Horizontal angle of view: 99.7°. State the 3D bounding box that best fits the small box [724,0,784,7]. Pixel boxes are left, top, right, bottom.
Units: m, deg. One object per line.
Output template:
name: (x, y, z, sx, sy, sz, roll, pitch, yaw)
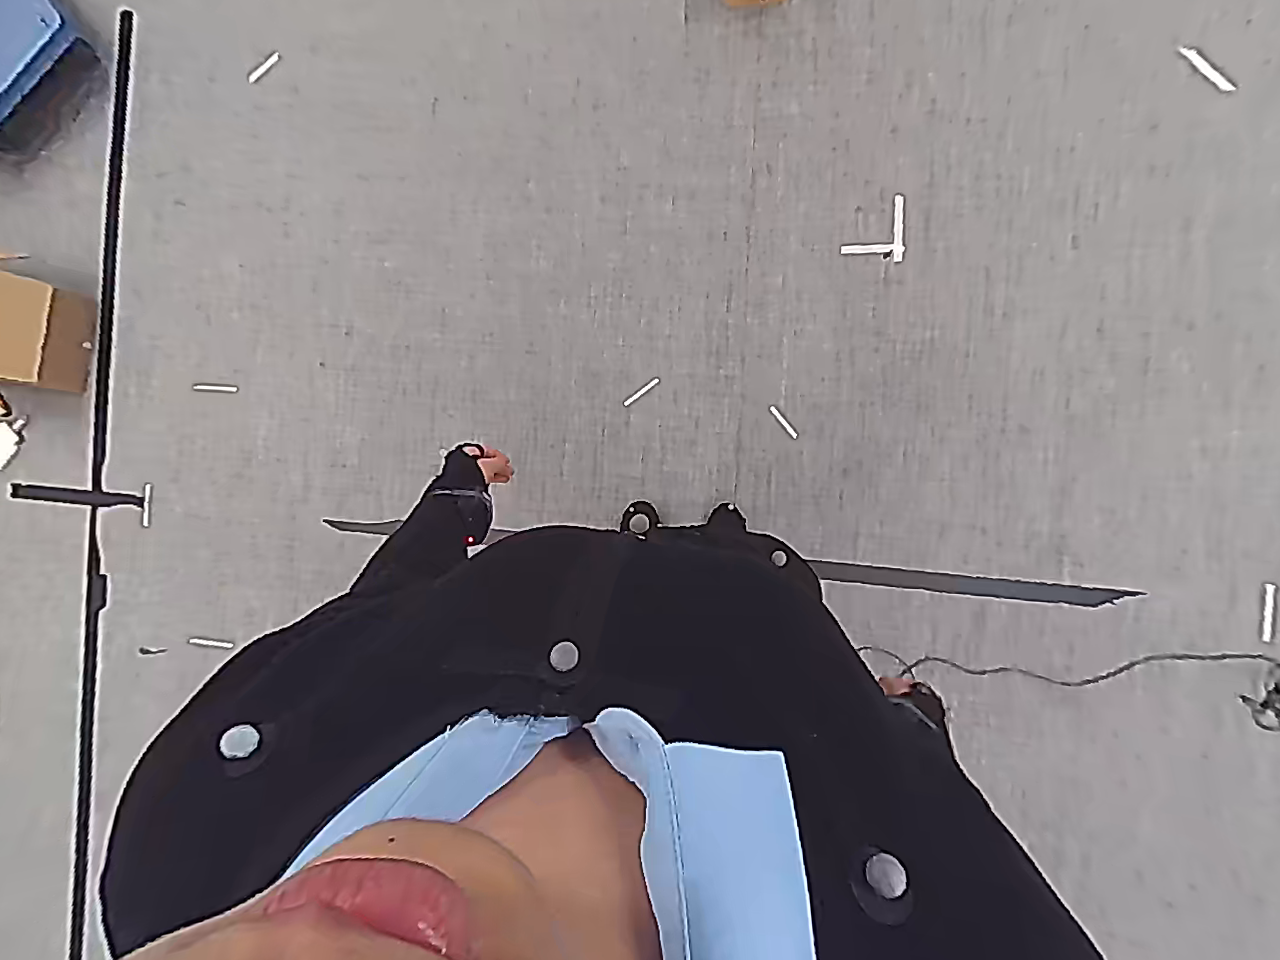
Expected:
small box: (0.304, -1.376, 1.403, 0.168, 0.176, 0.179, 2, 89, 8)
